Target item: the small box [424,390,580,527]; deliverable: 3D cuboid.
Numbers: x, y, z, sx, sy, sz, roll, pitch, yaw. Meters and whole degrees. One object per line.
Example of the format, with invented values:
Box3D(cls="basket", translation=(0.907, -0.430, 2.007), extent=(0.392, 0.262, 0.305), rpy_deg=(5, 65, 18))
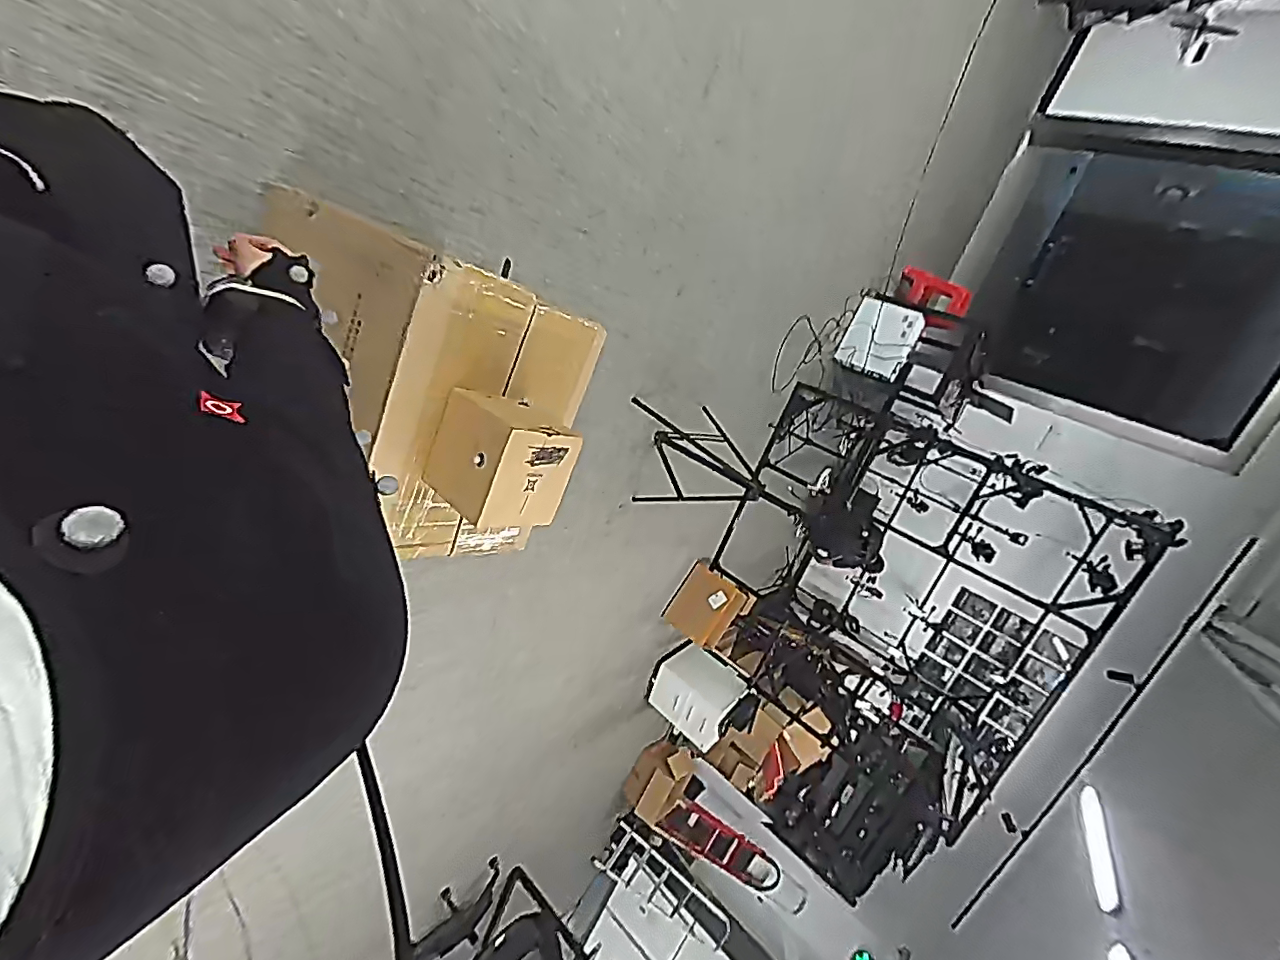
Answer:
Box3D(cls="small box", translation=(-0.238, -0.037, 0.922), extent=(0.168, 0.176, 0.179), rpy_deg=(4, 114, -55))
